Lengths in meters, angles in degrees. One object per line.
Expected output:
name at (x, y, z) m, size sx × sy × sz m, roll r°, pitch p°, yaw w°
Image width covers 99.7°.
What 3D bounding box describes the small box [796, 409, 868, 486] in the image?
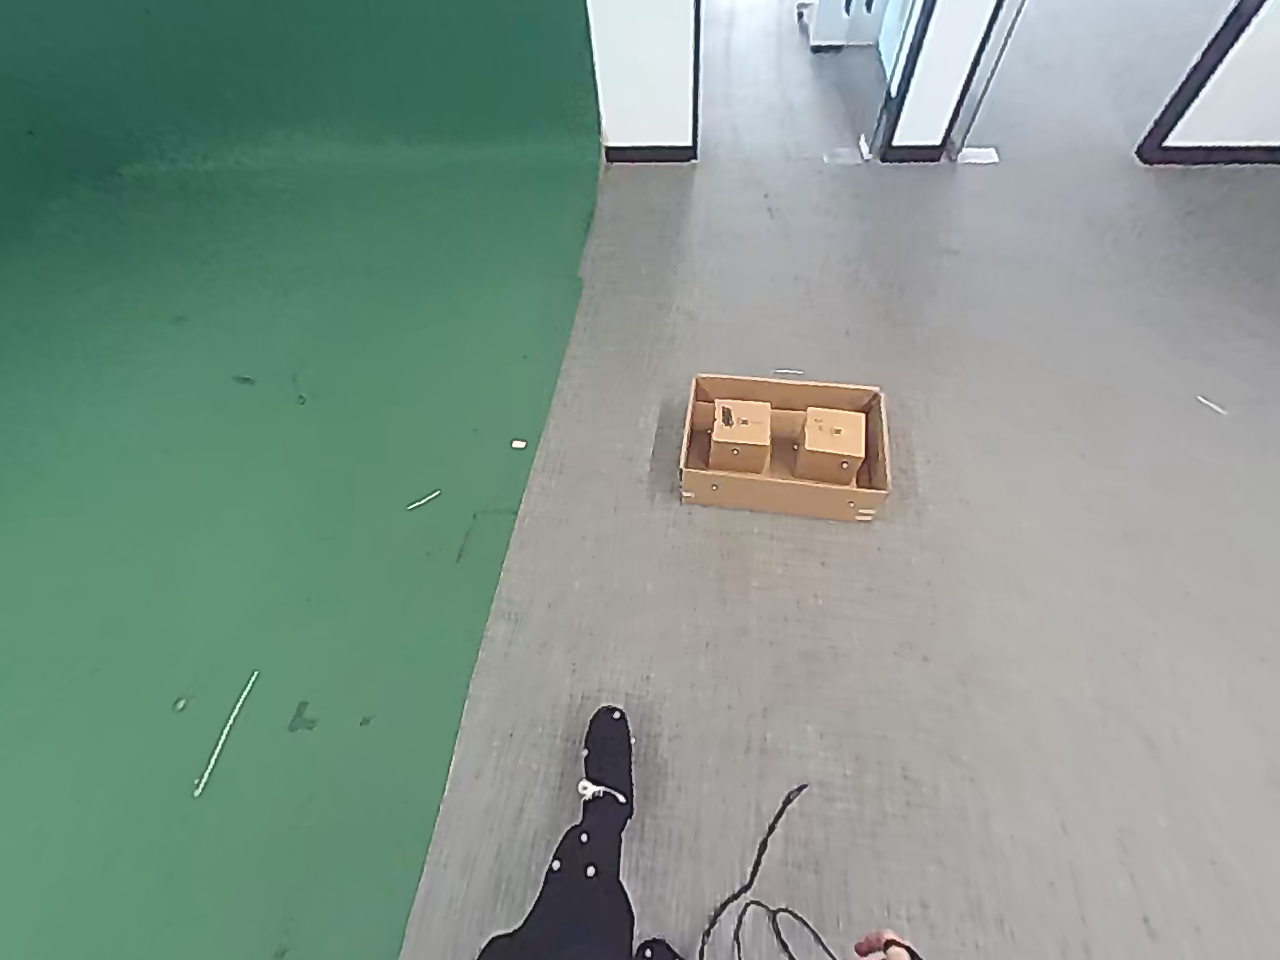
small box at (0.600, -0.098, 1.696) m, size 0.179 × 0.176 × 0.168 m, roll 9°, pitch 60°, yaw 11°
